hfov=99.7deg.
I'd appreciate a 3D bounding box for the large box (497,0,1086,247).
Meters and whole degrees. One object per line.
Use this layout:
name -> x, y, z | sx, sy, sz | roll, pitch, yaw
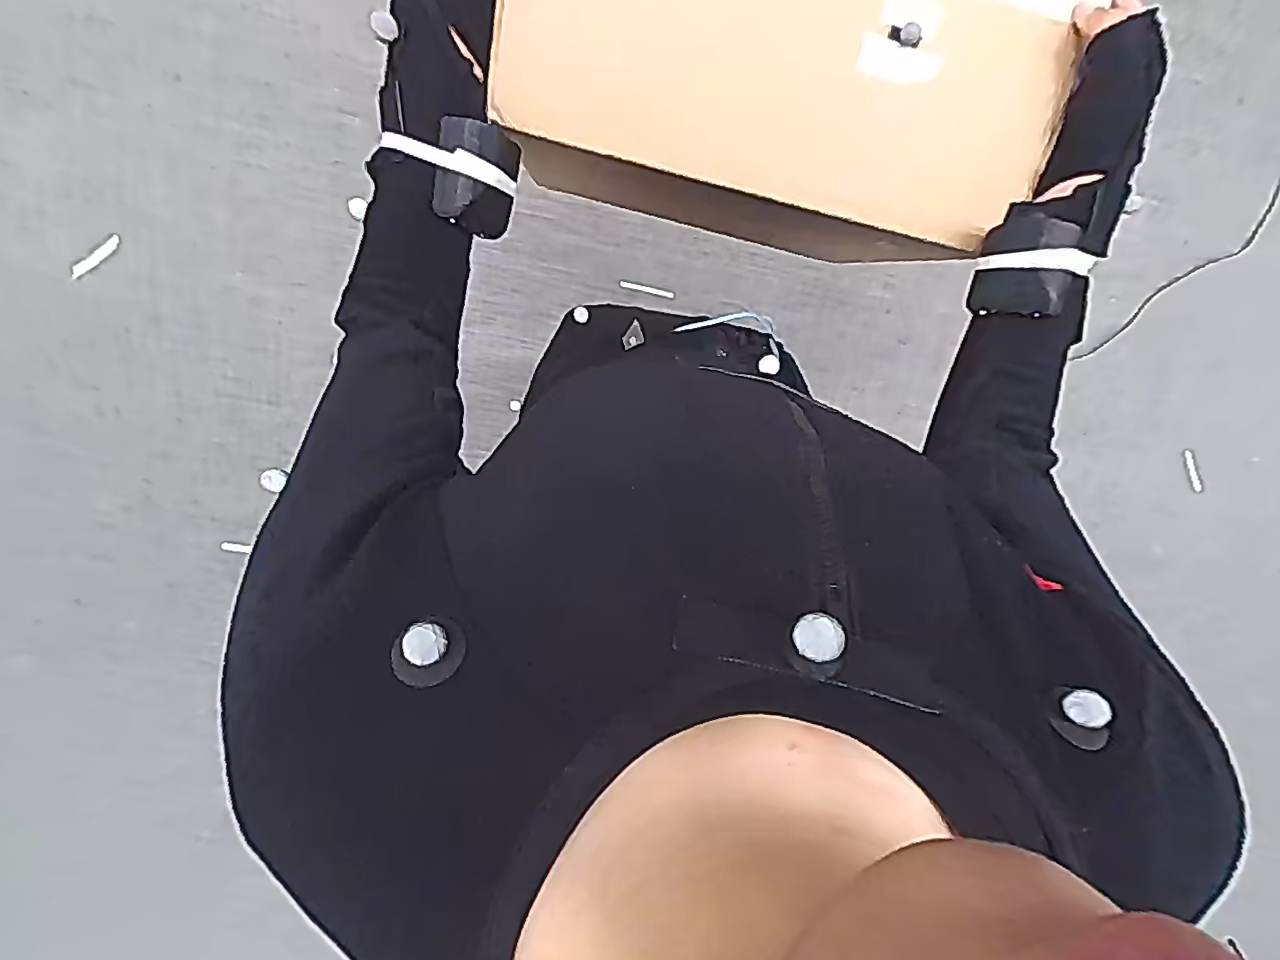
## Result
large box -> 0.106, -0.420, 0.492 | 0.408, 0.320, 0.320 | 10, 112, -10
